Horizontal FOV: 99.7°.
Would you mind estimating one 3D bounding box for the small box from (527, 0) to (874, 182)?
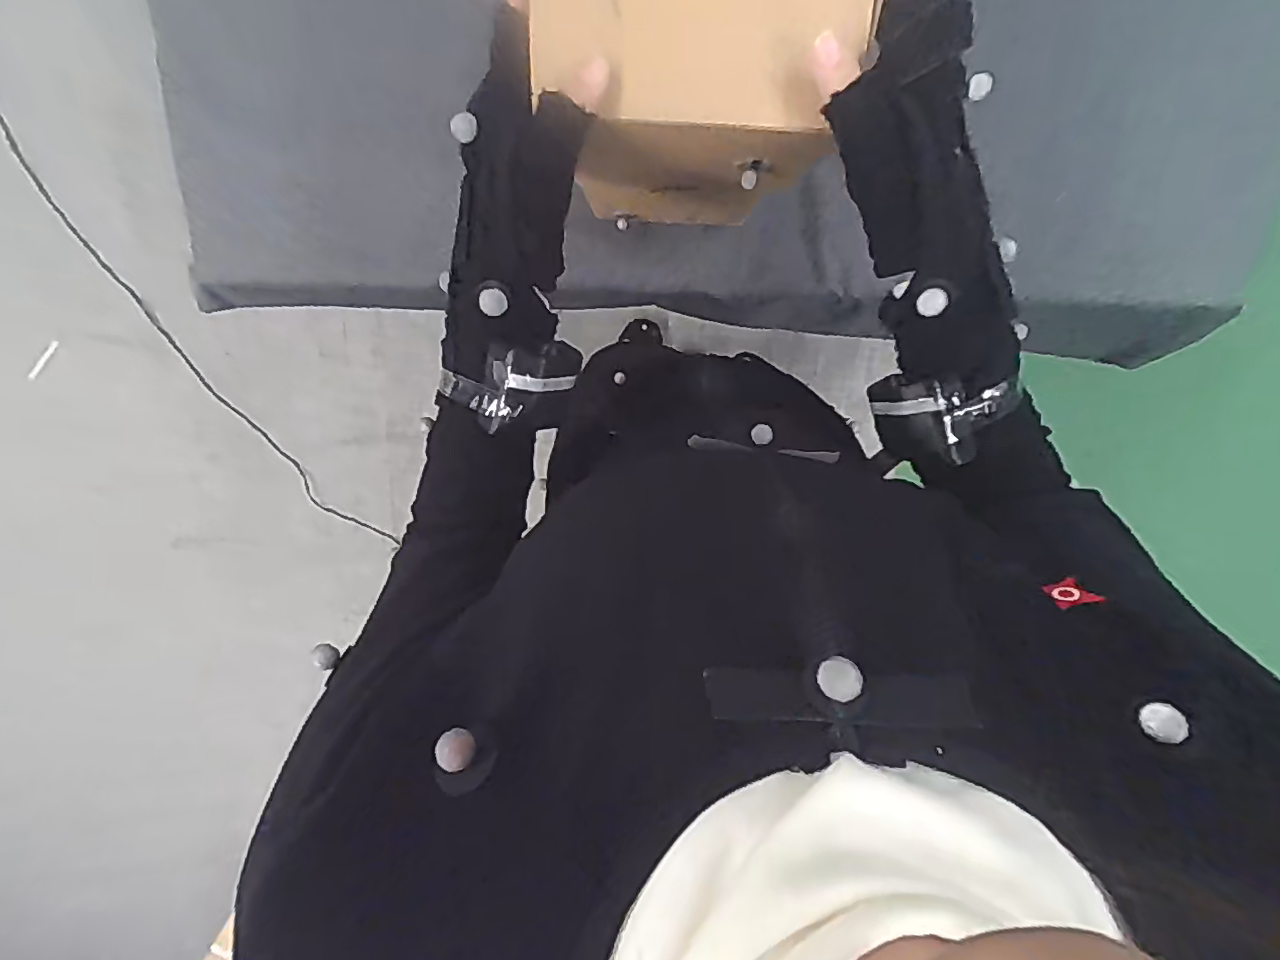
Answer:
[{"bbox_3d":[0.032,-0.295,0.337,0.179,0.176,0.168,2,108,2],"label":"small box"}]

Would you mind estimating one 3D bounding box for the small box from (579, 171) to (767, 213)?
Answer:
[{"bbox_3d":[0.033,-0.361,0.515,0.168,0.176,0.179,0,106,2],"label":"small box"}]
